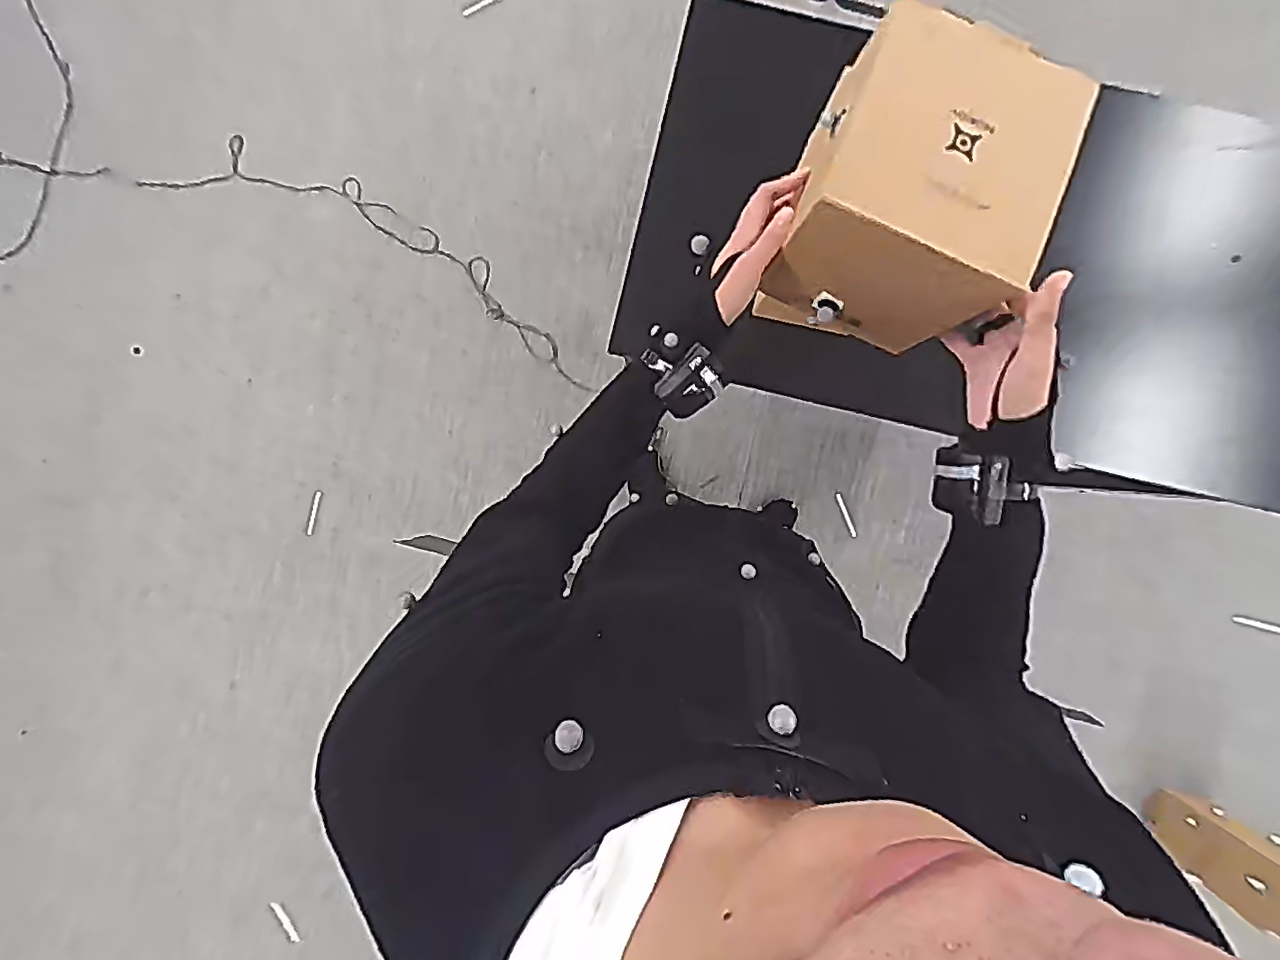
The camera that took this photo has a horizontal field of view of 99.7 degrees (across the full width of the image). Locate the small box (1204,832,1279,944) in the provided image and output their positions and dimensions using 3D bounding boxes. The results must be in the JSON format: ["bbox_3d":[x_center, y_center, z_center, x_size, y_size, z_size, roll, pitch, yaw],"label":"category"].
[{"bbox_3d":[1.624,1.052,1.387,0.168,0.176,0.179,14,94,1],"label":"small box"}]

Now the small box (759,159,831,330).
[{"bbox_3d":[0.284,-0.332,0.804,0.168,0.176,0.179,12,93,1],"label":"small box"}]

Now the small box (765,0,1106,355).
[{"bbox_3d":[0.226,-0.234,0.459,0.168,0.176,0.179,22,85,-3],"label":"small box"}]
